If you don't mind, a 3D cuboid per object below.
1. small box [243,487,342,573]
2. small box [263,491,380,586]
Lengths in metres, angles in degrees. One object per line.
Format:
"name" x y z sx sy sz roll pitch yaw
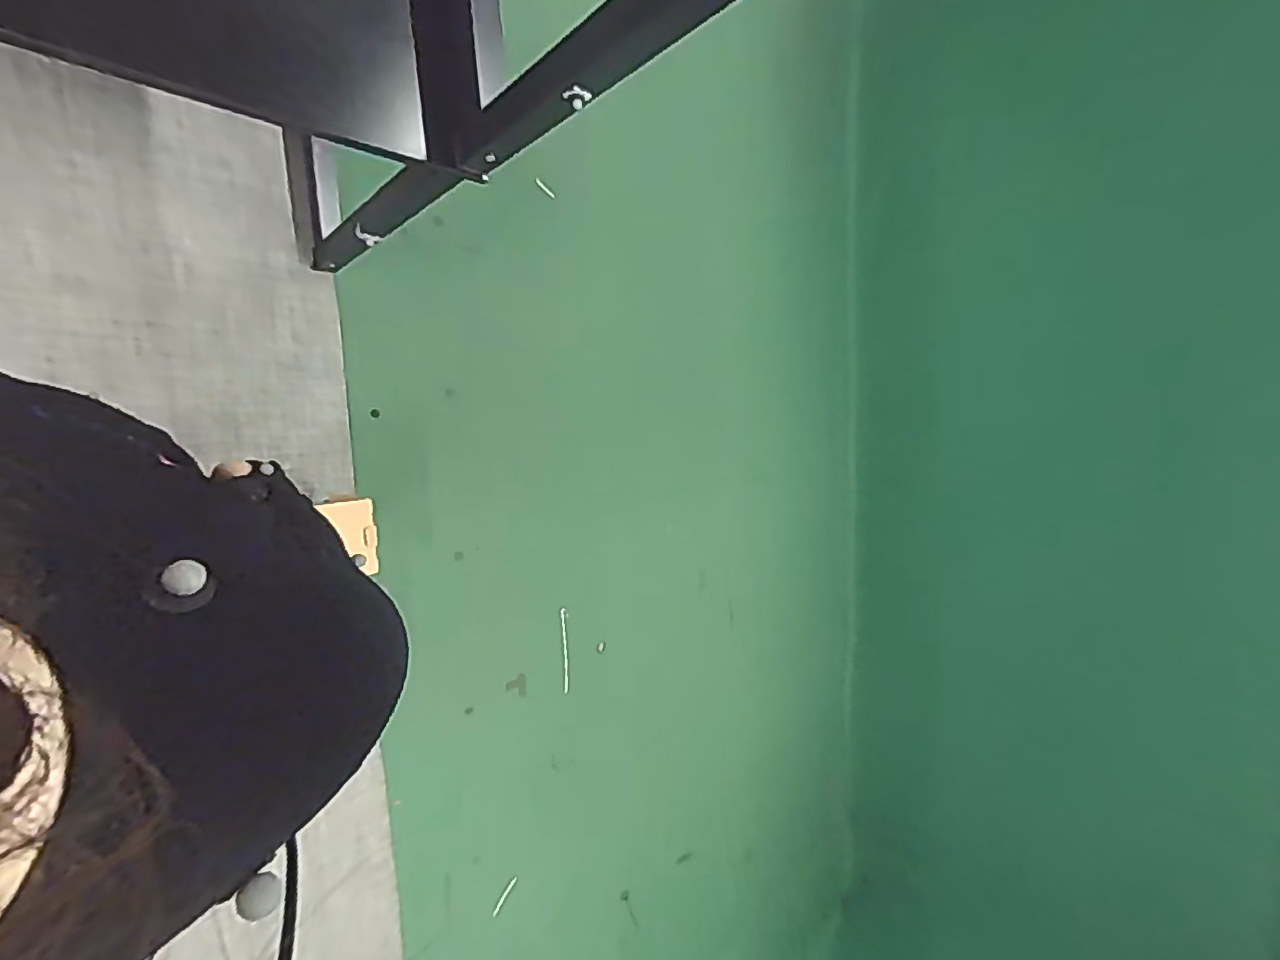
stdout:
"small box" -0.807 0.109 1.265 0.179 0.176 0.168 -11 100 -45
"small box" -0.685 0.116 1.157 0.179 0.176 0.168 -10 99 -46
